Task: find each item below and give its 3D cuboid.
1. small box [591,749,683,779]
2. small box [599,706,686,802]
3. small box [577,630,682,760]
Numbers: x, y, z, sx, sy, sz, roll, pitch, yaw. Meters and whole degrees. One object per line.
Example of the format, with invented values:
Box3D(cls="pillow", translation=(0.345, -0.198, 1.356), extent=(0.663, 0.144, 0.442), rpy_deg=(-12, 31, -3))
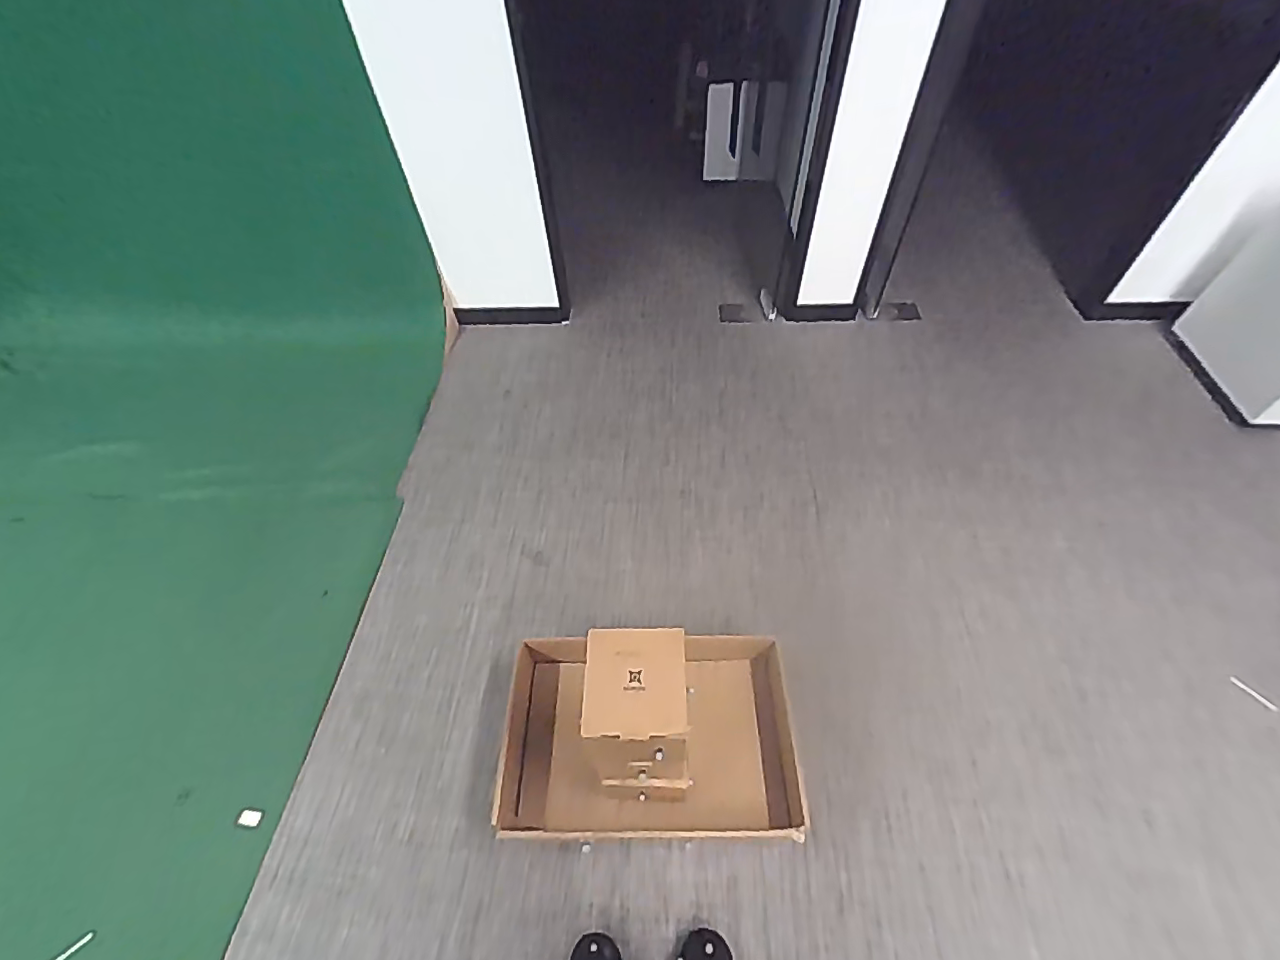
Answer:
Box3D(cls="small box", translation=(-0.002, 0.489, 1.081), extent=(0.168, 0.176, 0.179), rpy_deg=(-4, 50, 2))
Box3D(cls="small box", translation=(0.012, 0.602, 1.195), extent=(0.179, 0.176, 0.168), rpy_deg=(0, 50, 5))
Box3D(cls="small box", translation=(-0.011, 0.376, 0.939), extent=(0.168, 0.176, 0.179), rpy_deg=(0, 50, 2))
